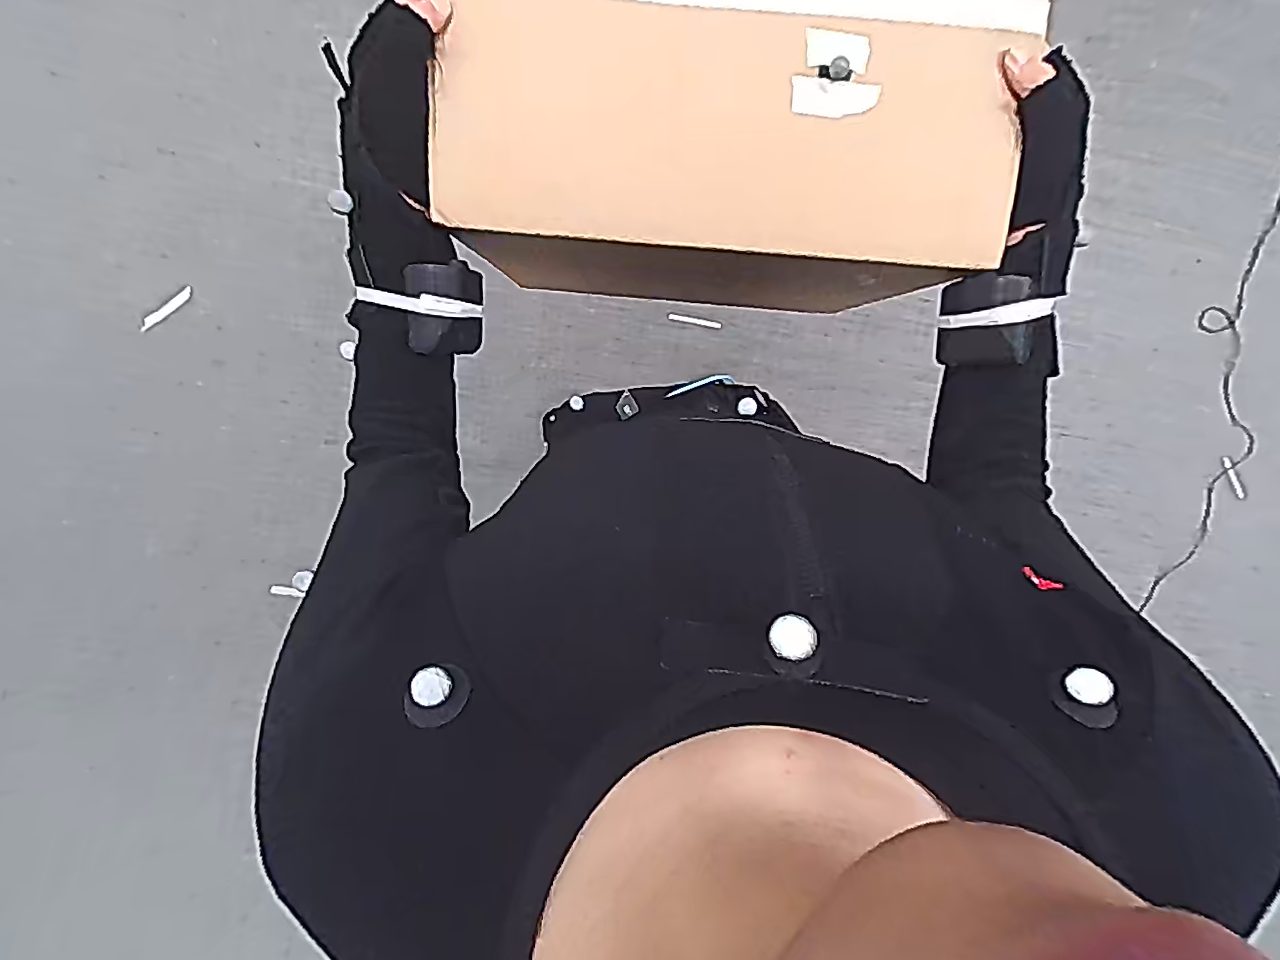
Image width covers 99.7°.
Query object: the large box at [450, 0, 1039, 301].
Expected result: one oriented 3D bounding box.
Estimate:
[{"bbox_3d":[0.066,-0.357,0.507,0.408,0.320,0.320,4,103,-3],"label":"large box"}]
